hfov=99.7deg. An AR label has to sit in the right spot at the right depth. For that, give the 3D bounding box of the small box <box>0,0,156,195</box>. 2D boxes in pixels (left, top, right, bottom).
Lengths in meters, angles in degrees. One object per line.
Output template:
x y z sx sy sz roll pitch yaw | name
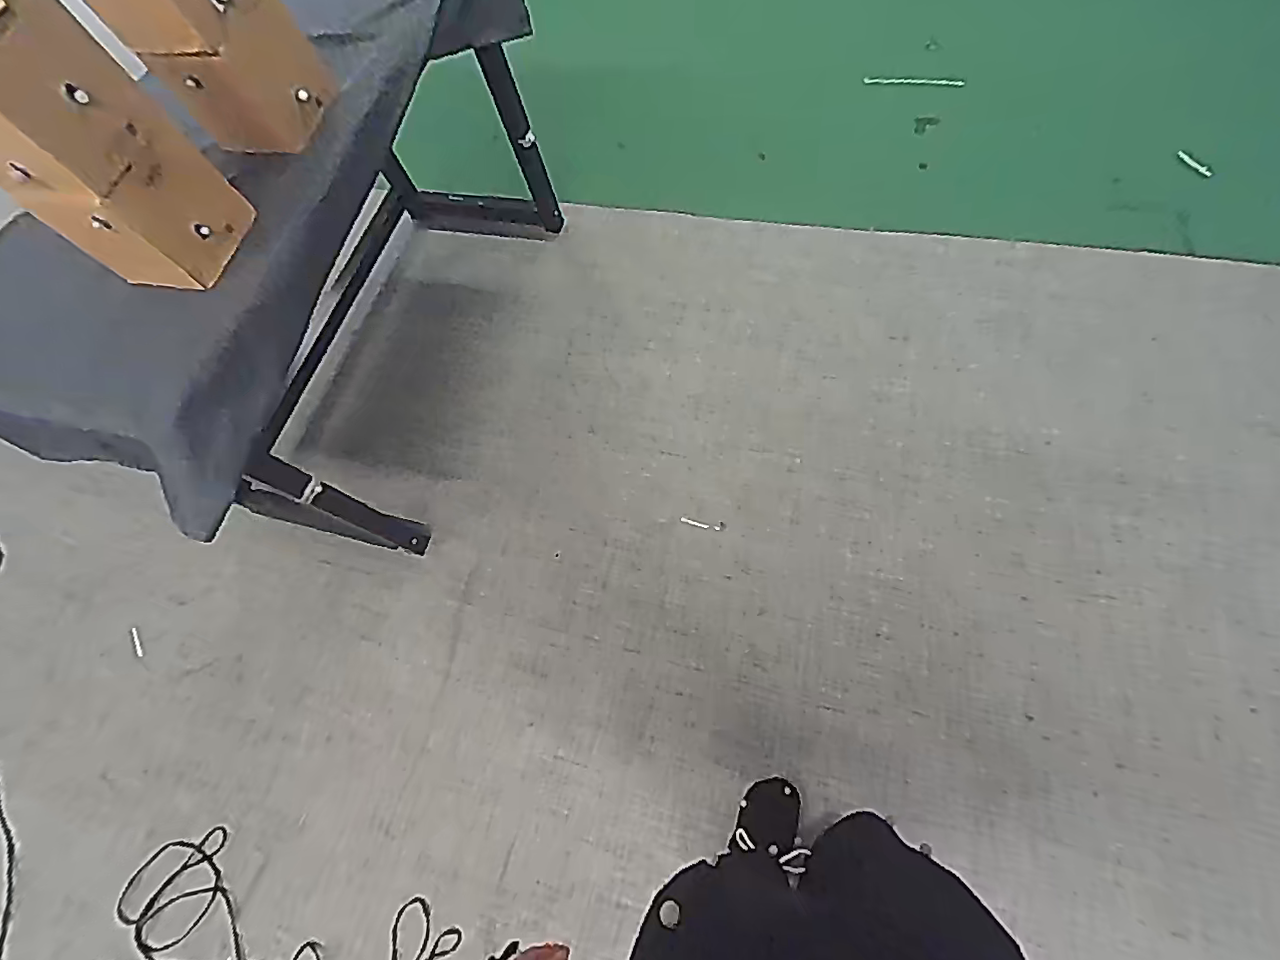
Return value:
-0.775 -0.481 0.672 0.179 0.176 0.168 8 69 11 | small box

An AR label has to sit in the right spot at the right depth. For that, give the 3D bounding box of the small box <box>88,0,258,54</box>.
-0.696 -0.744 0.764 0.179 0.176 0.168 12 72 14 | small box

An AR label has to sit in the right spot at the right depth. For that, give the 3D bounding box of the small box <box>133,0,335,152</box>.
-0.670 -0.687 0.914 0.179 0.176 0.168 10 71 13 | small box

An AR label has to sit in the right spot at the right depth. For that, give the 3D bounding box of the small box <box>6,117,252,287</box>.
-0.755 -0.415 0.820 0.179 0.176 0.168 9 69 12 | small box
